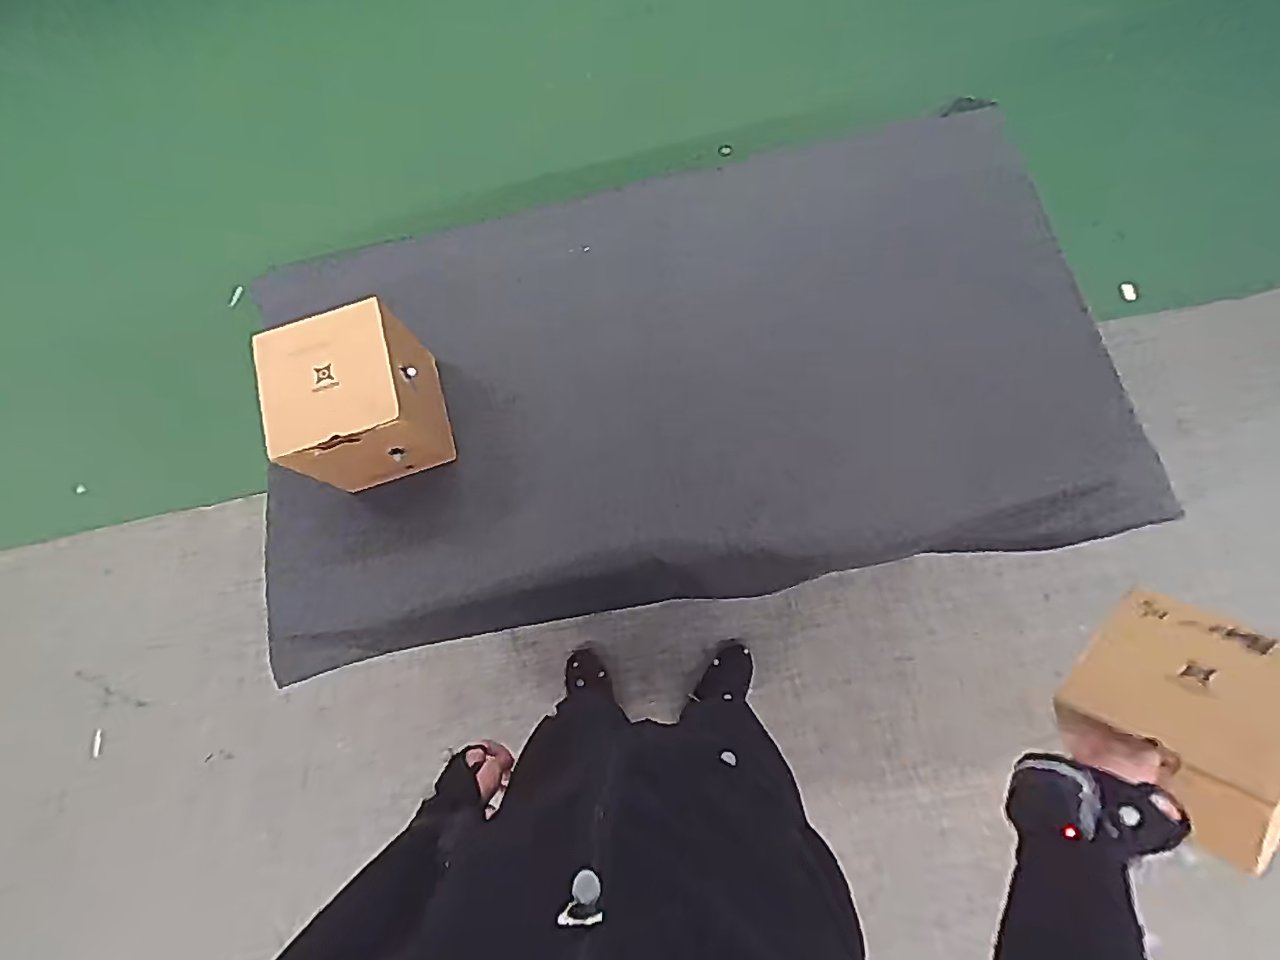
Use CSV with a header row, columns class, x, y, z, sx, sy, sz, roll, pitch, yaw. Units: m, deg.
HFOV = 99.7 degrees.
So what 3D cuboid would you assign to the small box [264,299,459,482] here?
class,x,y,z,sx,sy,sz,roll,pitch,yaw
small box,-0.367,-0.107,0.740,0.168,0.176,0.179,-18,75,-1
